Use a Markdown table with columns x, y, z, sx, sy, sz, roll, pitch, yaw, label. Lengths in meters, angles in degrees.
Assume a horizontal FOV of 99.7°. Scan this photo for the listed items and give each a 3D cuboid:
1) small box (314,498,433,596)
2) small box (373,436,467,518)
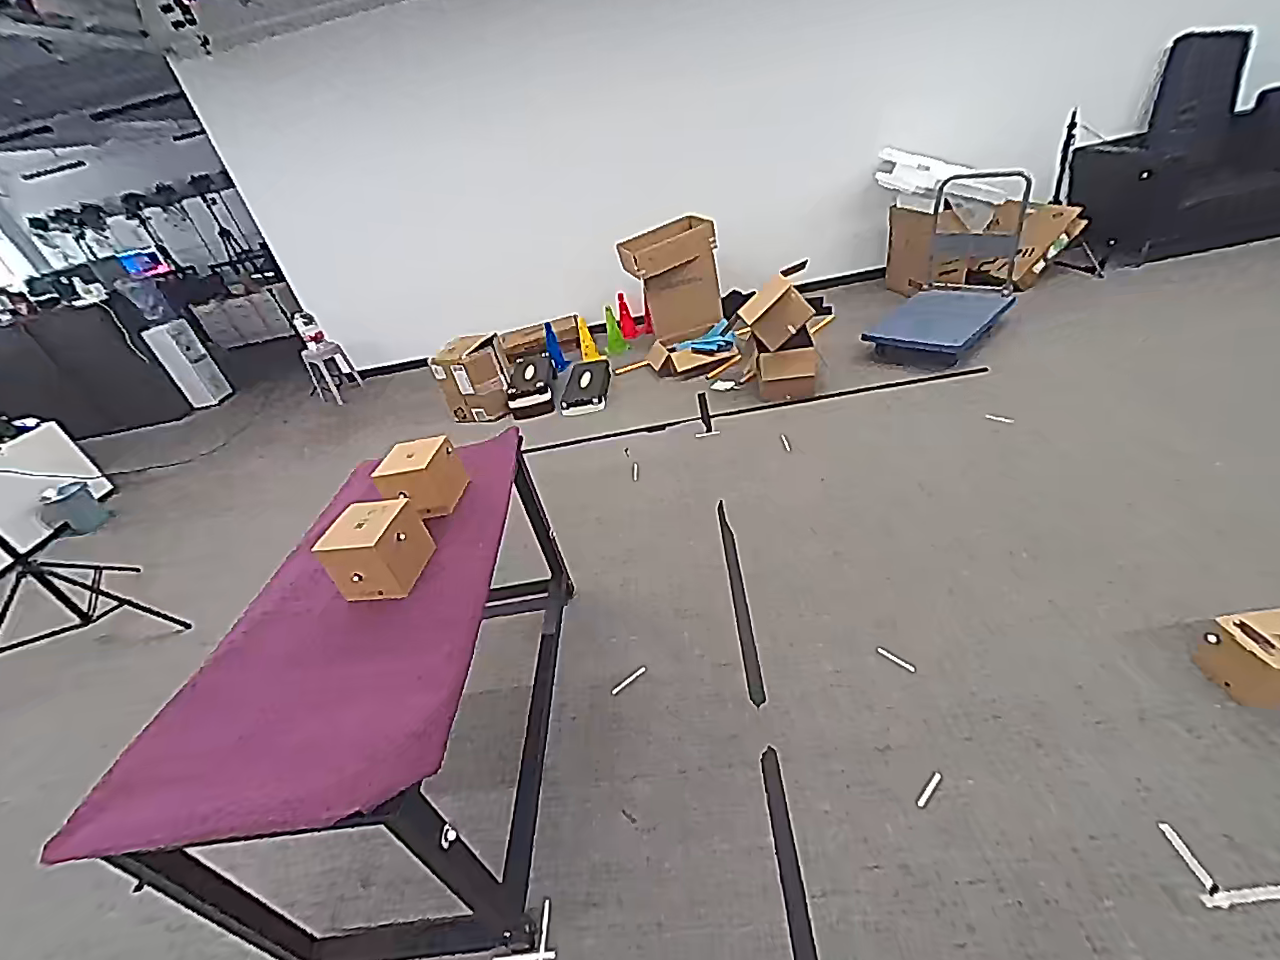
| x | y | z | sx | sy | sz | roll | pitch | yaw | label |
| --- | --- | --- | --- | --- | --- | --- | --- | --- | --- |
| -0.633 | 0.168 | 1.312 | 0.168 | 0.176 | 0.179 | -5 | 34 | 12 | small box |
| -0.623 | -0.002 | 1.559 | 0.168 | 0.176 | 0.179 | -9 | 33 | 9 | small box |
